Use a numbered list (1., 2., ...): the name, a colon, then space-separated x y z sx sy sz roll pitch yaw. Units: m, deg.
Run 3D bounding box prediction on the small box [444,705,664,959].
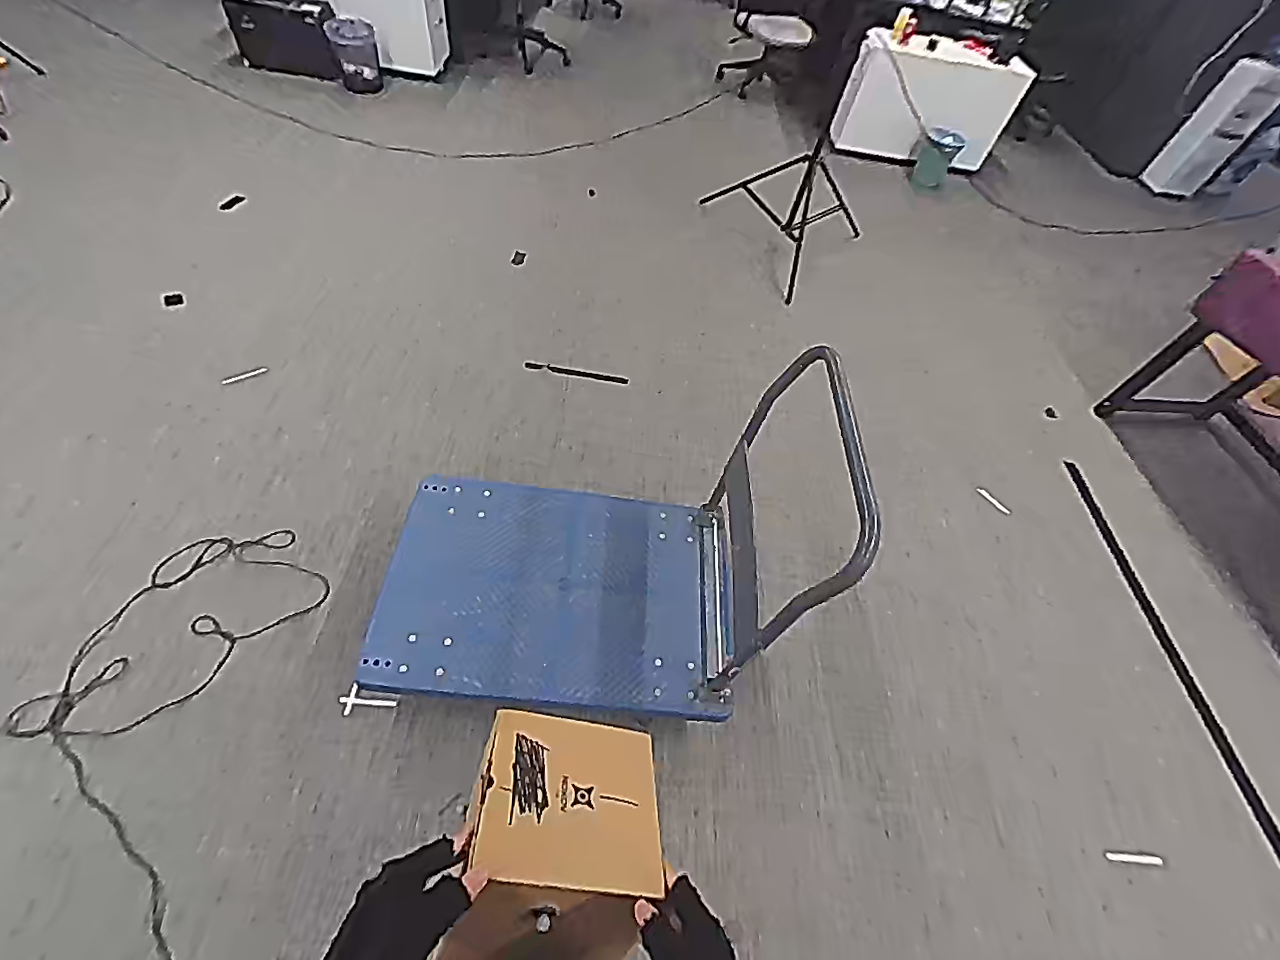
1. small box: -0.090 0.372 0.566 0.179 0.176 0.168 16 25 -12
